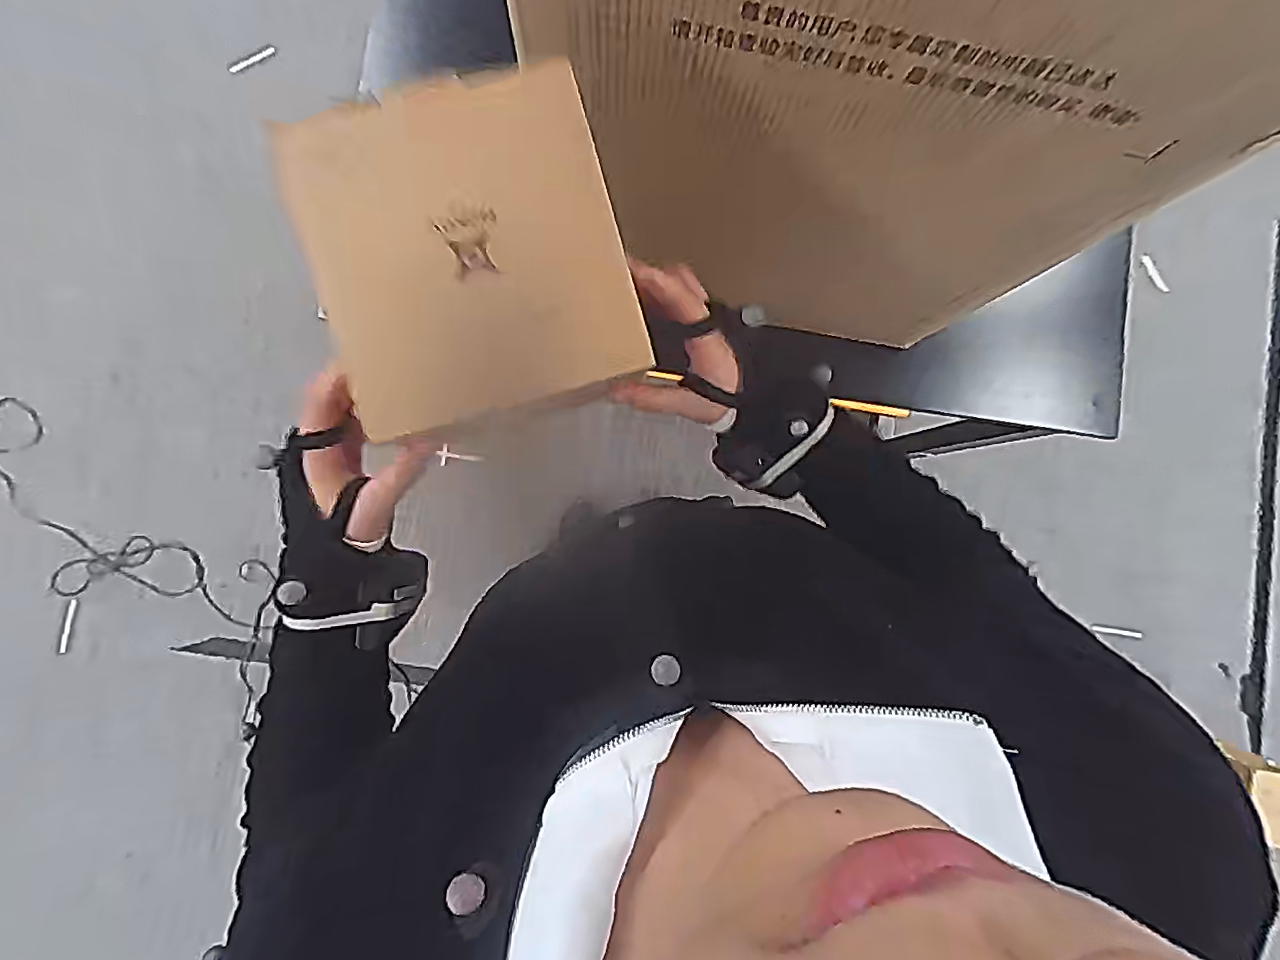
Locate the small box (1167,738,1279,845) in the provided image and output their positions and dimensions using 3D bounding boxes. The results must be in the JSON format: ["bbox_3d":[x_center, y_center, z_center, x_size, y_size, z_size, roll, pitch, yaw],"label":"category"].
[{"bbox_3d":[1.461,0.755,1.319,0.179,0.176,0.168,12,86,-2],"label":"small box"}]
